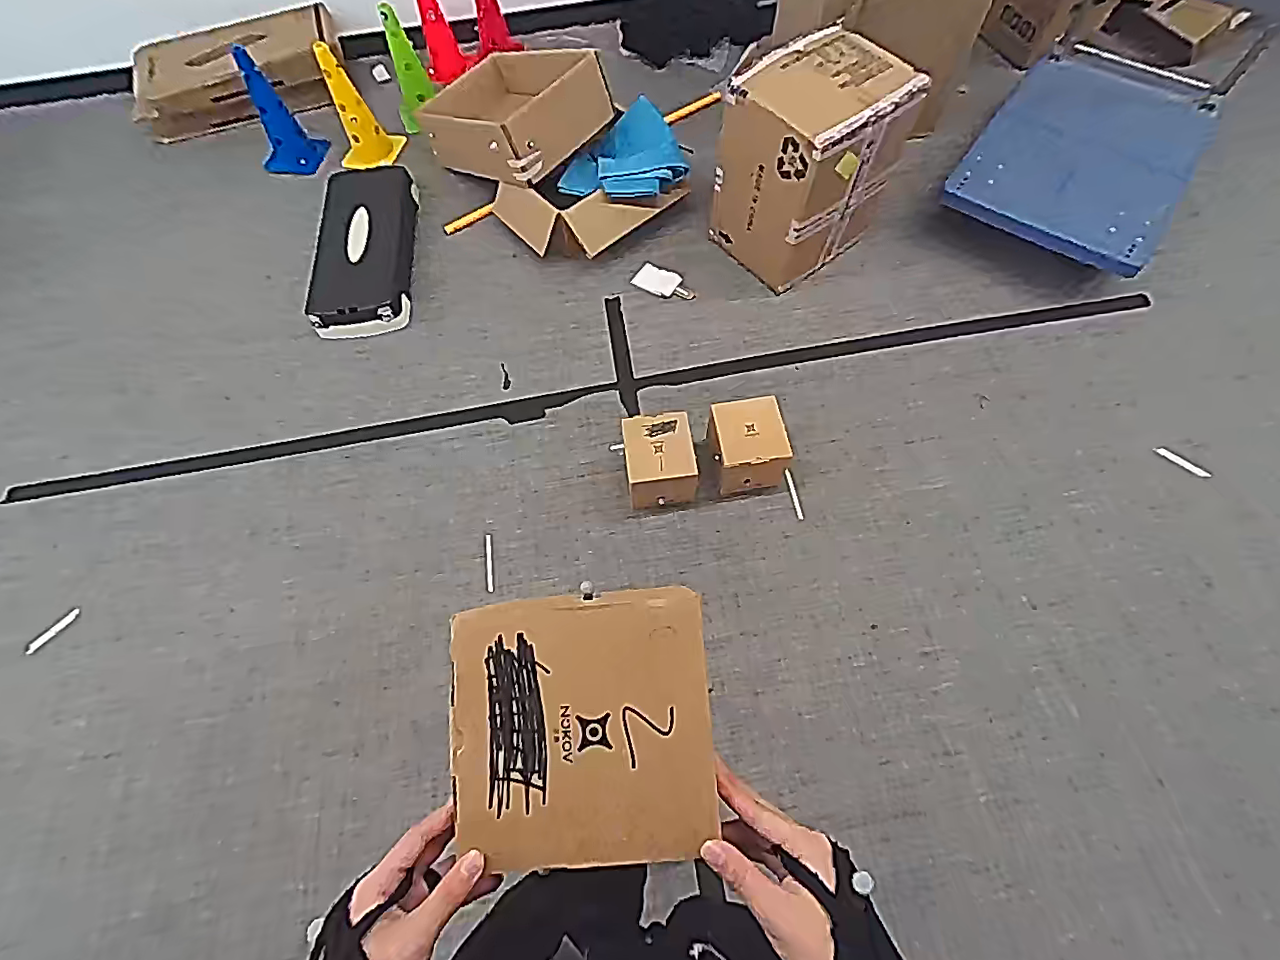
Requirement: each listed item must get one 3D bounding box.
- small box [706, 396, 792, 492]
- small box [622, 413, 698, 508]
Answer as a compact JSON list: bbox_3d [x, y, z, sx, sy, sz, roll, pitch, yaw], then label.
[{"bbox_3d":[0.269,-0.088,1.381,0.168,0.176,0.179,-9,66,-3],"label":"small box"},{"bbox_3d":[0.046,-0.047,1.366,0.168,0.176,0.179,-7,66,-1],"label":"small box"}]
